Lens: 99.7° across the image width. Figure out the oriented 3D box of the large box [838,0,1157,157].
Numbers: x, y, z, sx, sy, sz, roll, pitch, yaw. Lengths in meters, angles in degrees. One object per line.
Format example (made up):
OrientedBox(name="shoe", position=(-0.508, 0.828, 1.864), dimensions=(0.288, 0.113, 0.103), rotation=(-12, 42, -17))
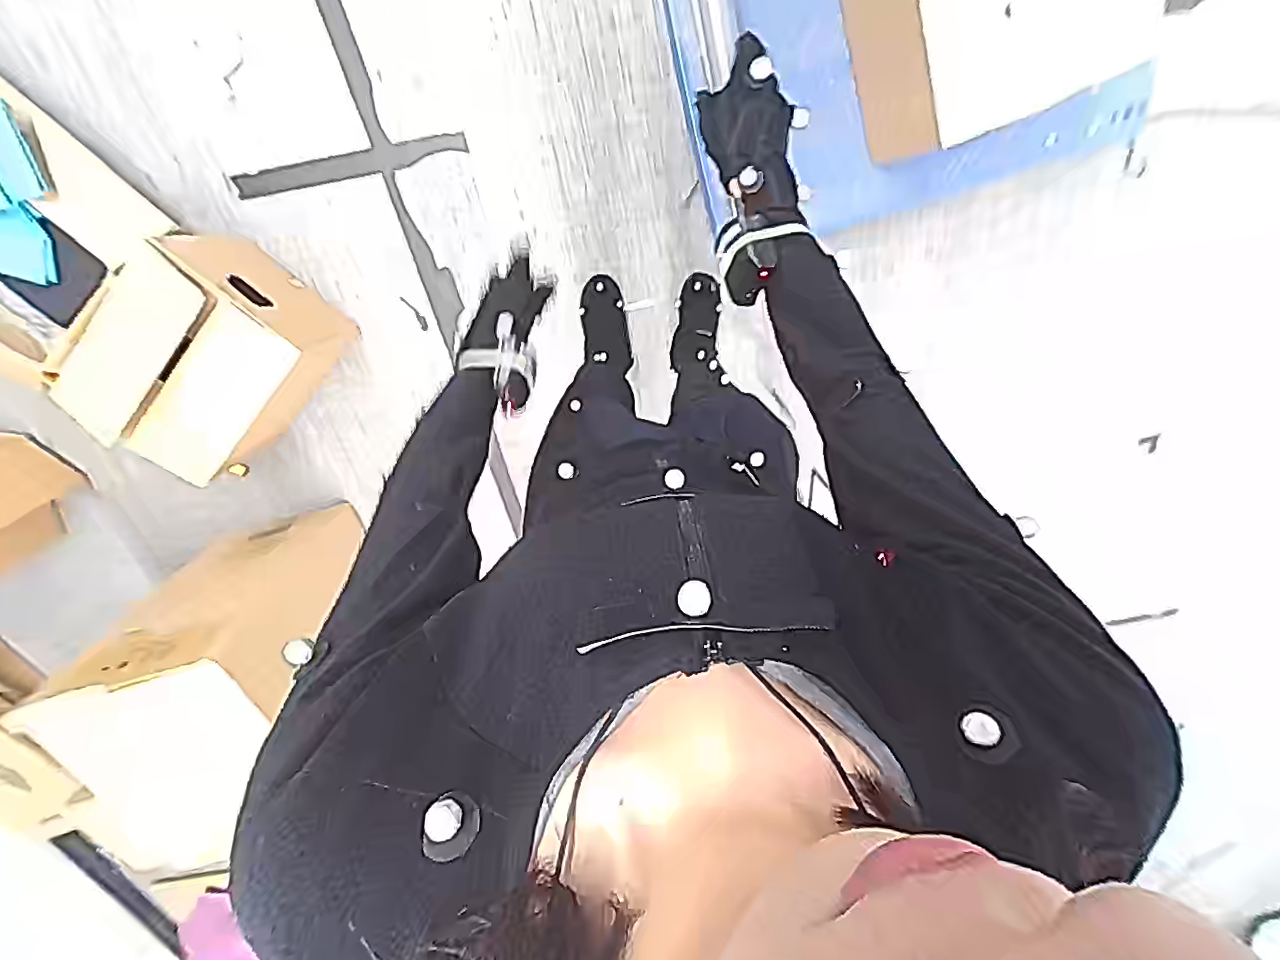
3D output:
OrientedBox(name="large box", position=(0.536, -0.810, 0.871), dimensions=(0.320, 0.320, 0.408), rotation=(-20, 114, 12))
